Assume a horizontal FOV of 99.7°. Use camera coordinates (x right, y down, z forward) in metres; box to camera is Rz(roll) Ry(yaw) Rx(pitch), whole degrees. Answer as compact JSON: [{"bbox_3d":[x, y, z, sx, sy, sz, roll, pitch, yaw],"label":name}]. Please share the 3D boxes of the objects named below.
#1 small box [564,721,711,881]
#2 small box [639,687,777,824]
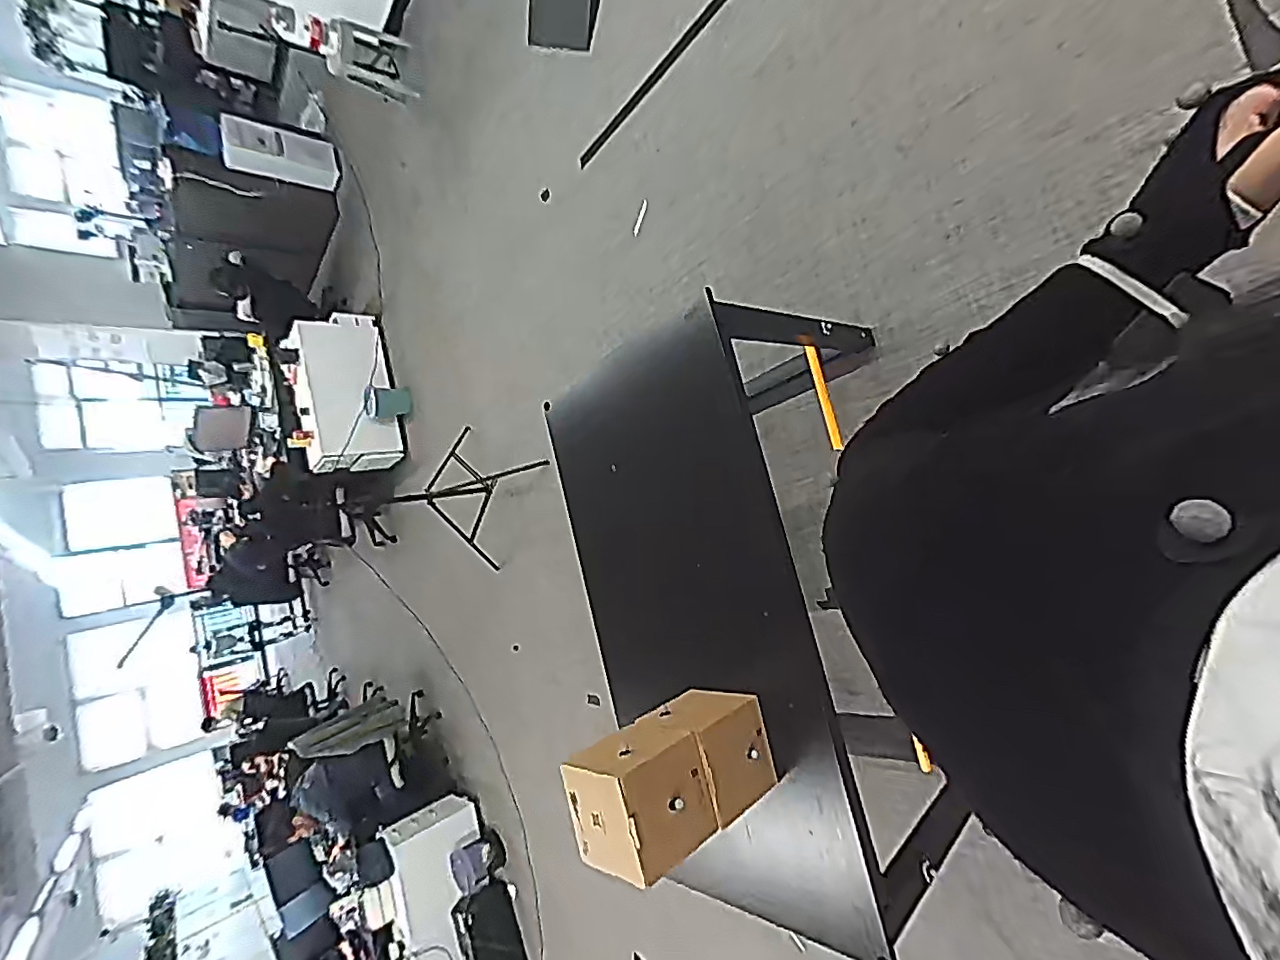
[{"bbox_3d":[0.001,0.526,0.919,0.179,0.176,0.168,-22,79,47],"label":"small box"},{"bbox_3d":[0.128,0.504,1.022,0.179,0.176,0.168,-18,83,48],"label":"small box"}]
